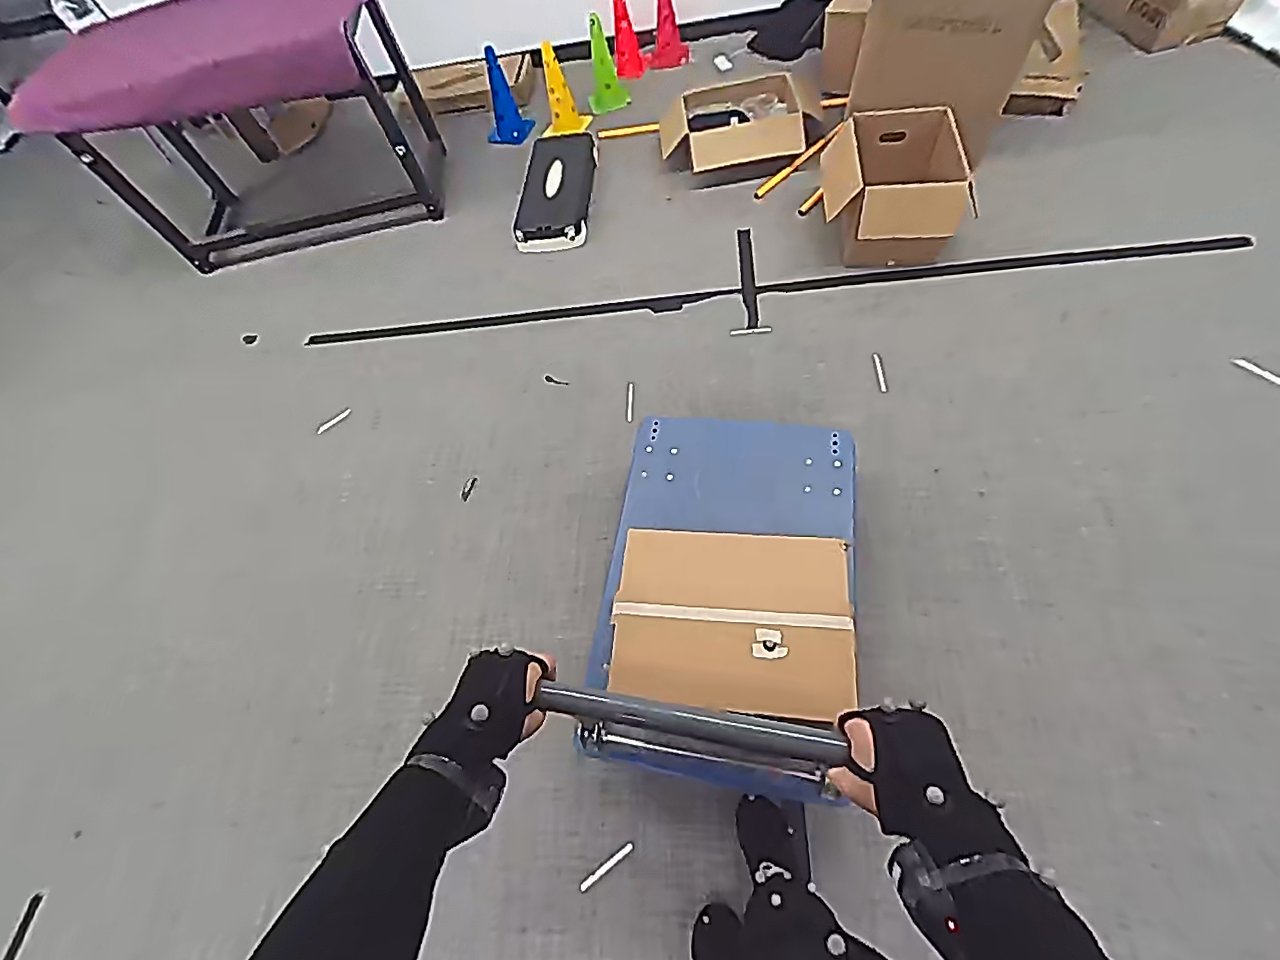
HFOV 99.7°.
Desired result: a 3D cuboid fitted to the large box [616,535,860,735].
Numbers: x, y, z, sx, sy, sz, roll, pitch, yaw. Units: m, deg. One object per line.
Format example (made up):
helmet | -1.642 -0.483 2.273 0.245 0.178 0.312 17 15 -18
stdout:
large box | 0.182 0.316 1.080 0.408 0.320 0.320 2 62 9
